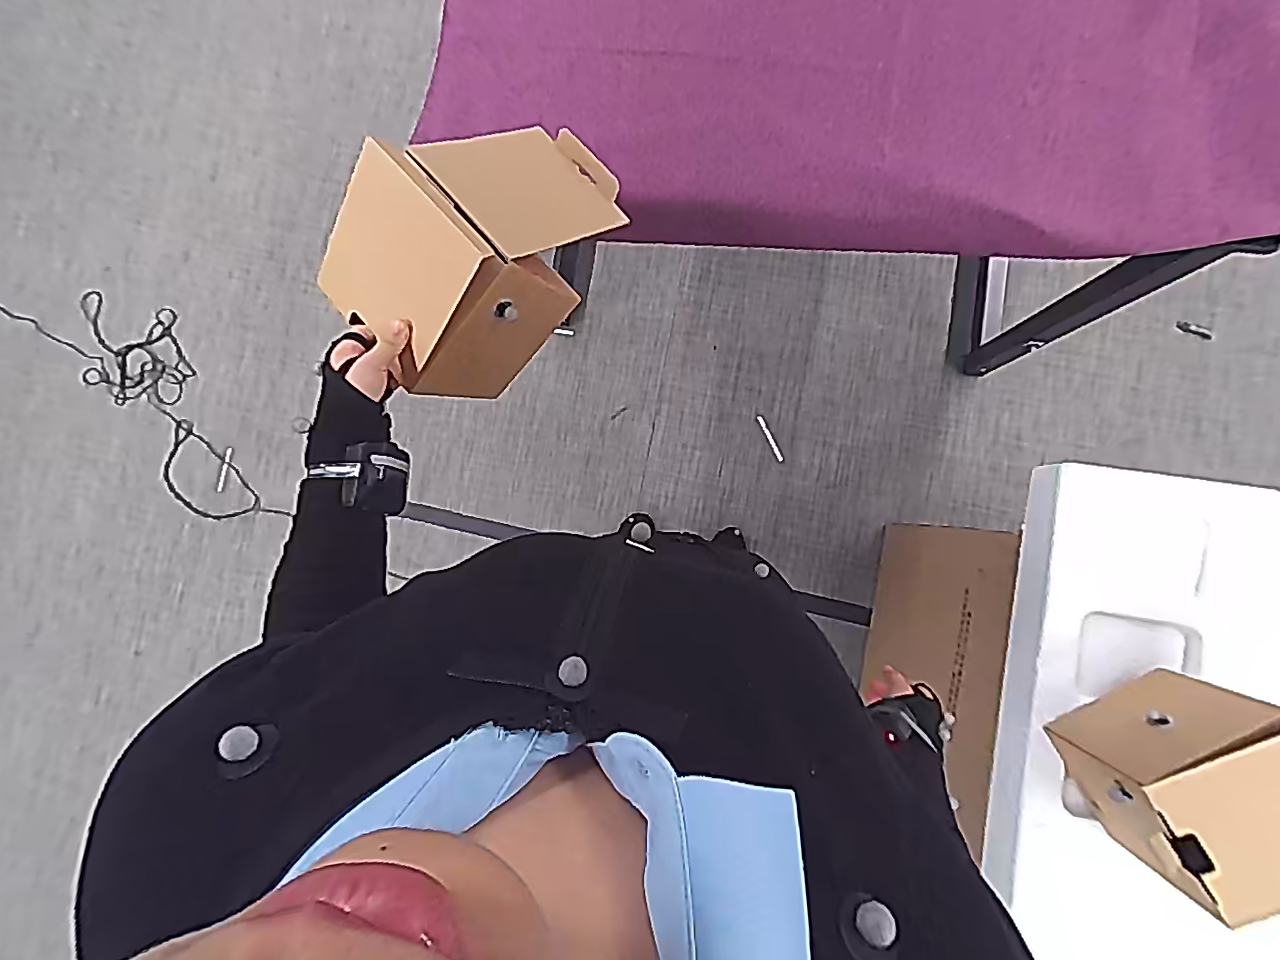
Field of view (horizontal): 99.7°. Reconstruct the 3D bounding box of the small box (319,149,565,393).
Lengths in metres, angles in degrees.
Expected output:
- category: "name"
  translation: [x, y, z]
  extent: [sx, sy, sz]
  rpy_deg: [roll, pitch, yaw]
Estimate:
- category: "small box"
  translation: [-0.209, -0.219, 0.620]
  extent: [0.179, 0.176, 0.168]
  rpy_deg: [-44, 81, 17]
